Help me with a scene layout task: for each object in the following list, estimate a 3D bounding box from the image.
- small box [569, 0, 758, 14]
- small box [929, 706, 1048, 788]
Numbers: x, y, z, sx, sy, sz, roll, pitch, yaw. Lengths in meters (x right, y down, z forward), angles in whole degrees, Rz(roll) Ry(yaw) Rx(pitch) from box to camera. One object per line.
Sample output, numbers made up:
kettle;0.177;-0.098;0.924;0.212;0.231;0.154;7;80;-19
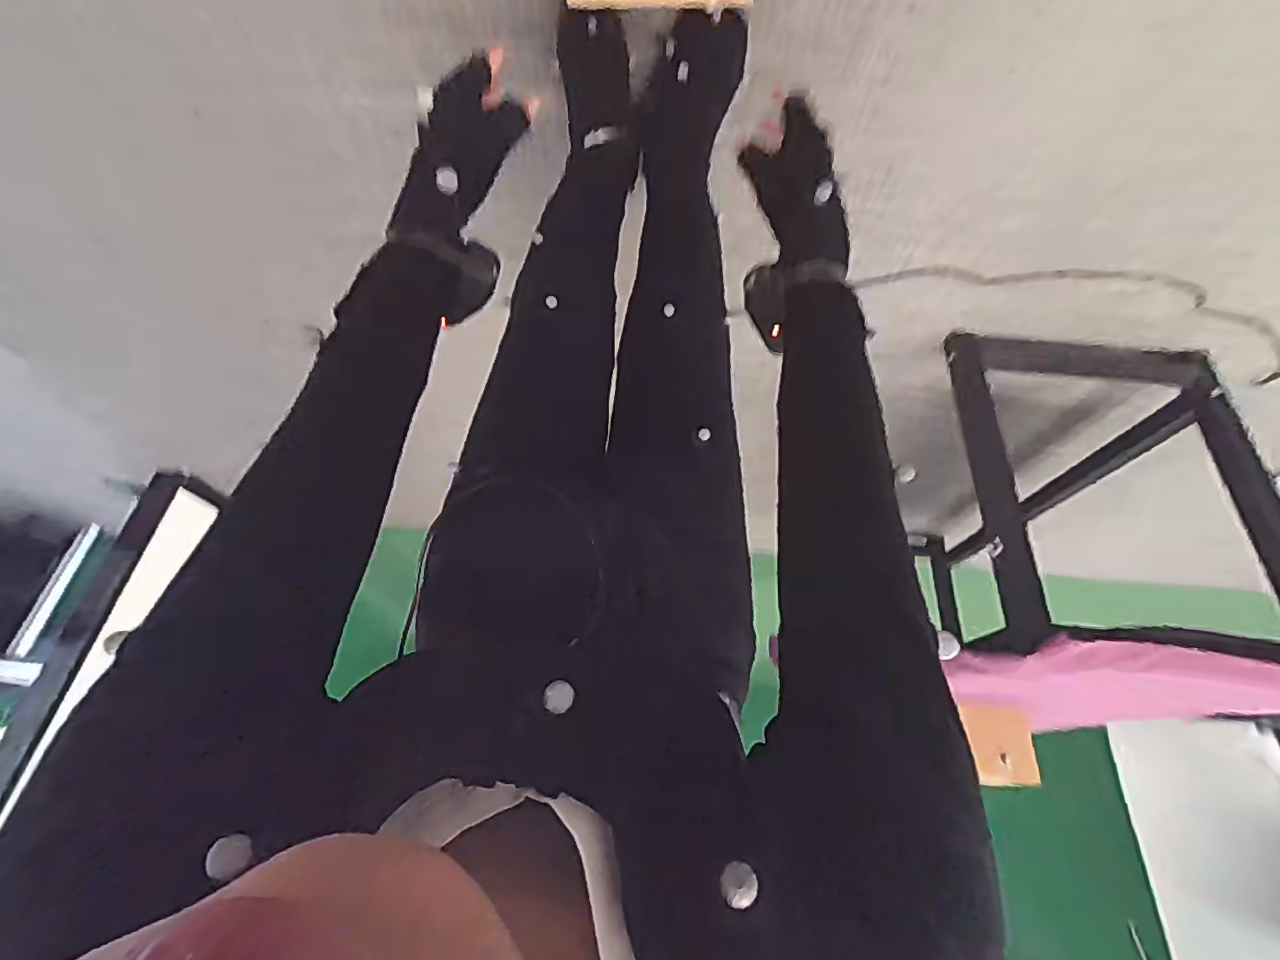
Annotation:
small box;0.025;-0.542;0.467;0.179;0.176;0.168;2;152;5
small box;0.859;0.666;1.351;0.179;0.176;0.168;7;150;-2
